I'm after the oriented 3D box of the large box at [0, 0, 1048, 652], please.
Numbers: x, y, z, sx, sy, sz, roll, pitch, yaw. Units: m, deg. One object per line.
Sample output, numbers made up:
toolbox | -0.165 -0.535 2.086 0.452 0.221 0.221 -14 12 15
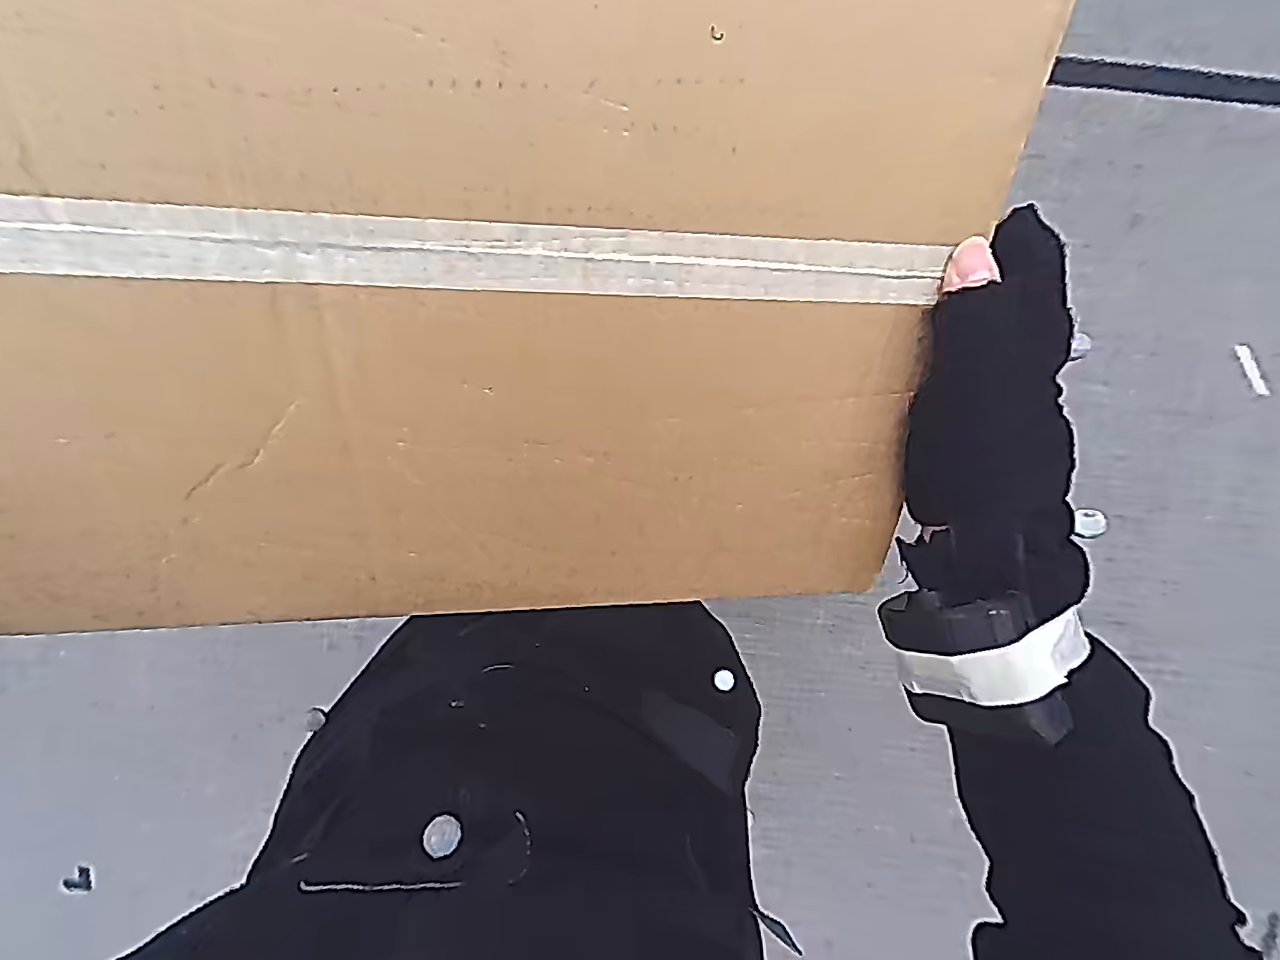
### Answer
large box | -0.093 -0.137 0.318 0.408 0.320 0.320 -1 119 -9
